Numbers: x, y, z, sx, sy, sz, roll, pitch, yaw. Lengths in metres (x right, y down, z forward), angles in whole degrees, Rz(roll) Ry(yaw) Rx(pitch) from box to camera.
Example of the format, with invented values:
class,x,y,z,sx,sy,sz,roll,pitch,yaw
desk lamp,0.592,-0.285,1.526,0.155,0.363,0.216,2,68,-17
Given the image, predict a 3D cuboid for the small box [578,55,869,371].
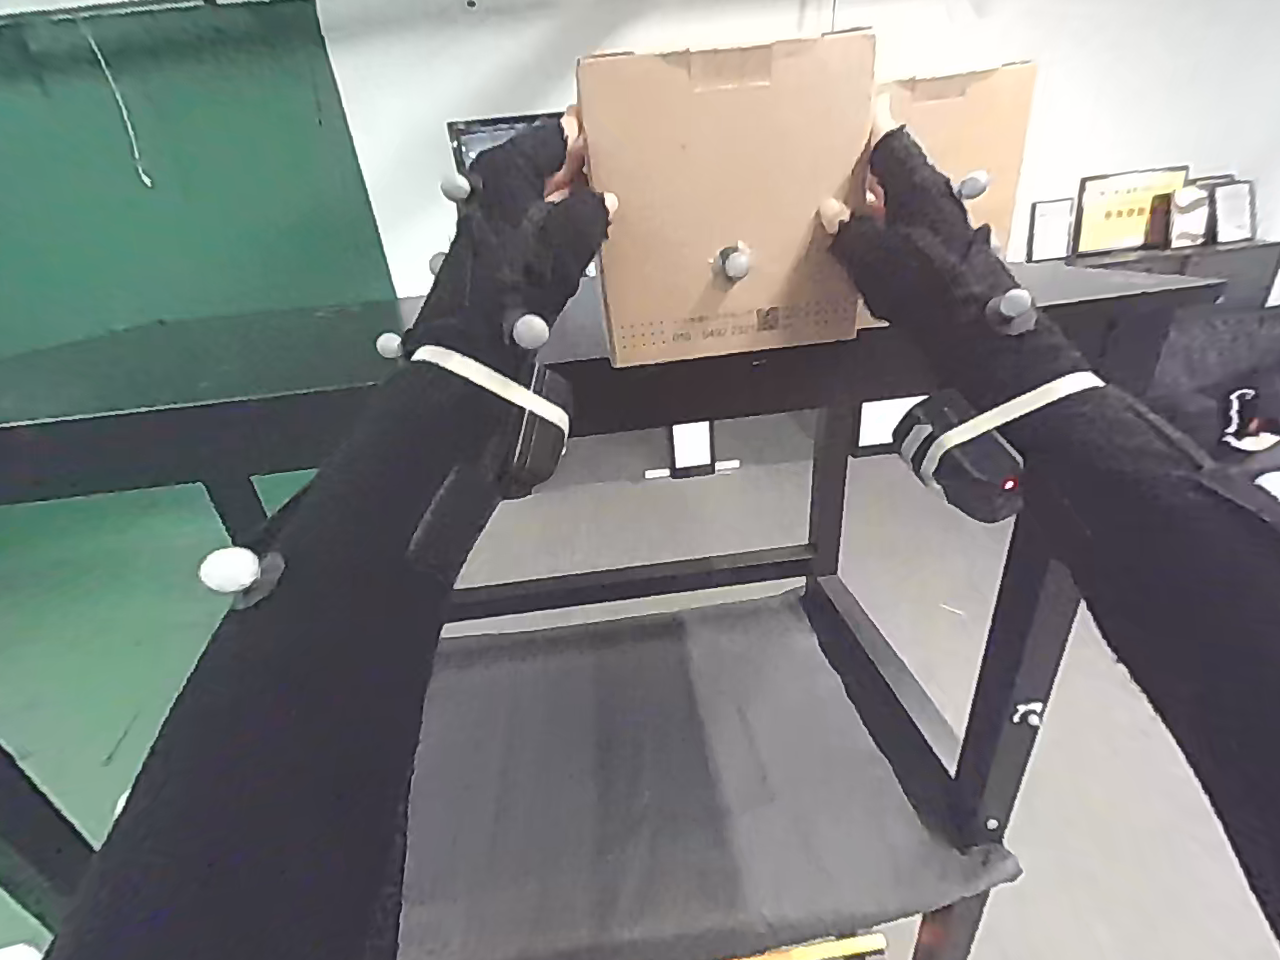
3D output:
class,x,y,z,sx,sy,sz,roll,pitch,yaw
small box,0.047,-0.187,0.406,0.168,0.176,0.179,-8,27,-2
